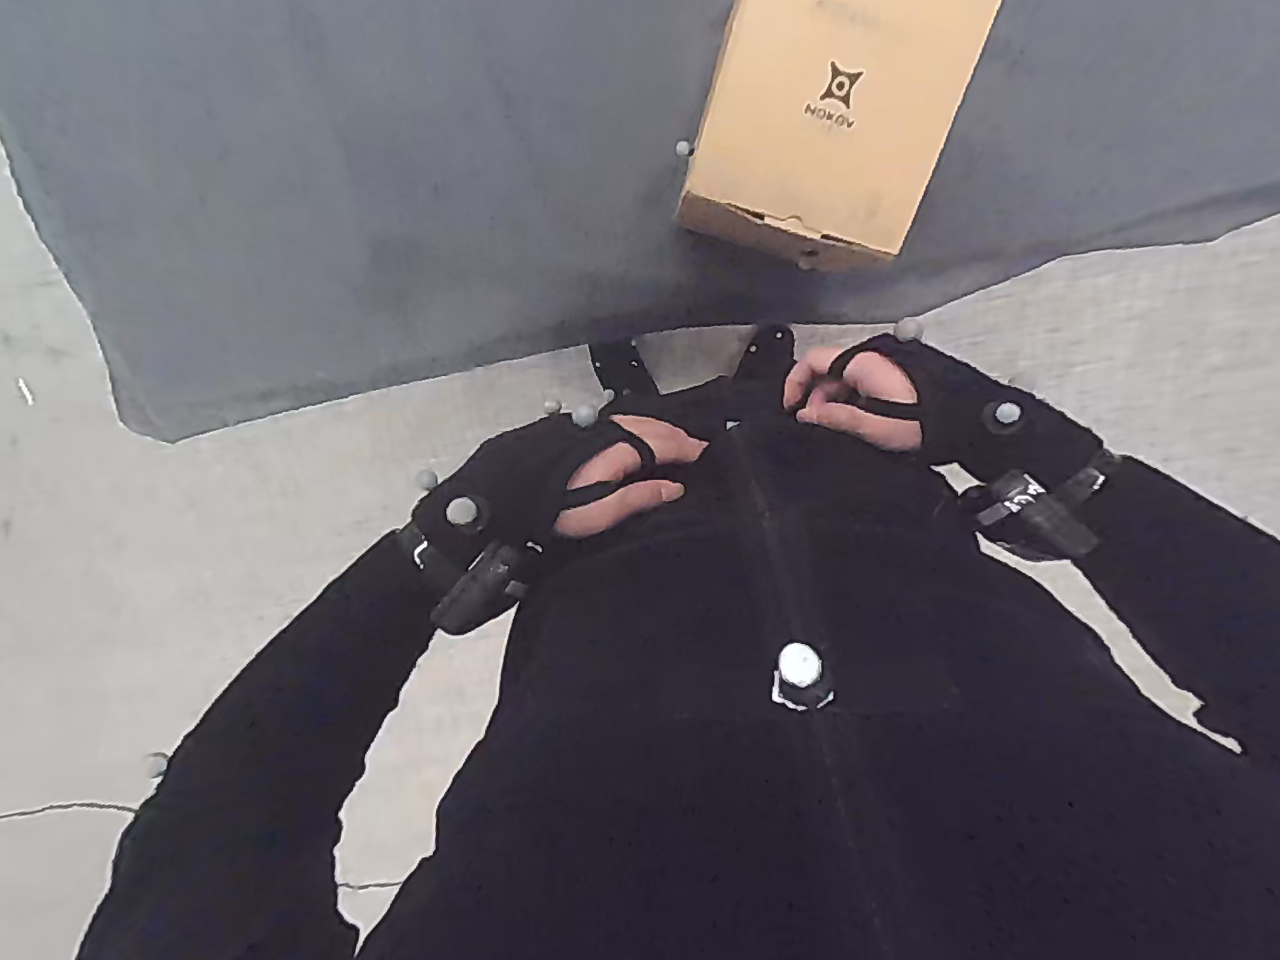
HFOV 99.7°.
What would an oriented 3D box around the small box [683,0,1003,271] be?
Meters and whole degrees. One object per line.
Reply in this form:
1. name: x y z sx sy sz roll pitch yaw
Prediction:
1. small box: 0.136 -0.282 0.444 0.168 0.176 0.179 14 107 -5
